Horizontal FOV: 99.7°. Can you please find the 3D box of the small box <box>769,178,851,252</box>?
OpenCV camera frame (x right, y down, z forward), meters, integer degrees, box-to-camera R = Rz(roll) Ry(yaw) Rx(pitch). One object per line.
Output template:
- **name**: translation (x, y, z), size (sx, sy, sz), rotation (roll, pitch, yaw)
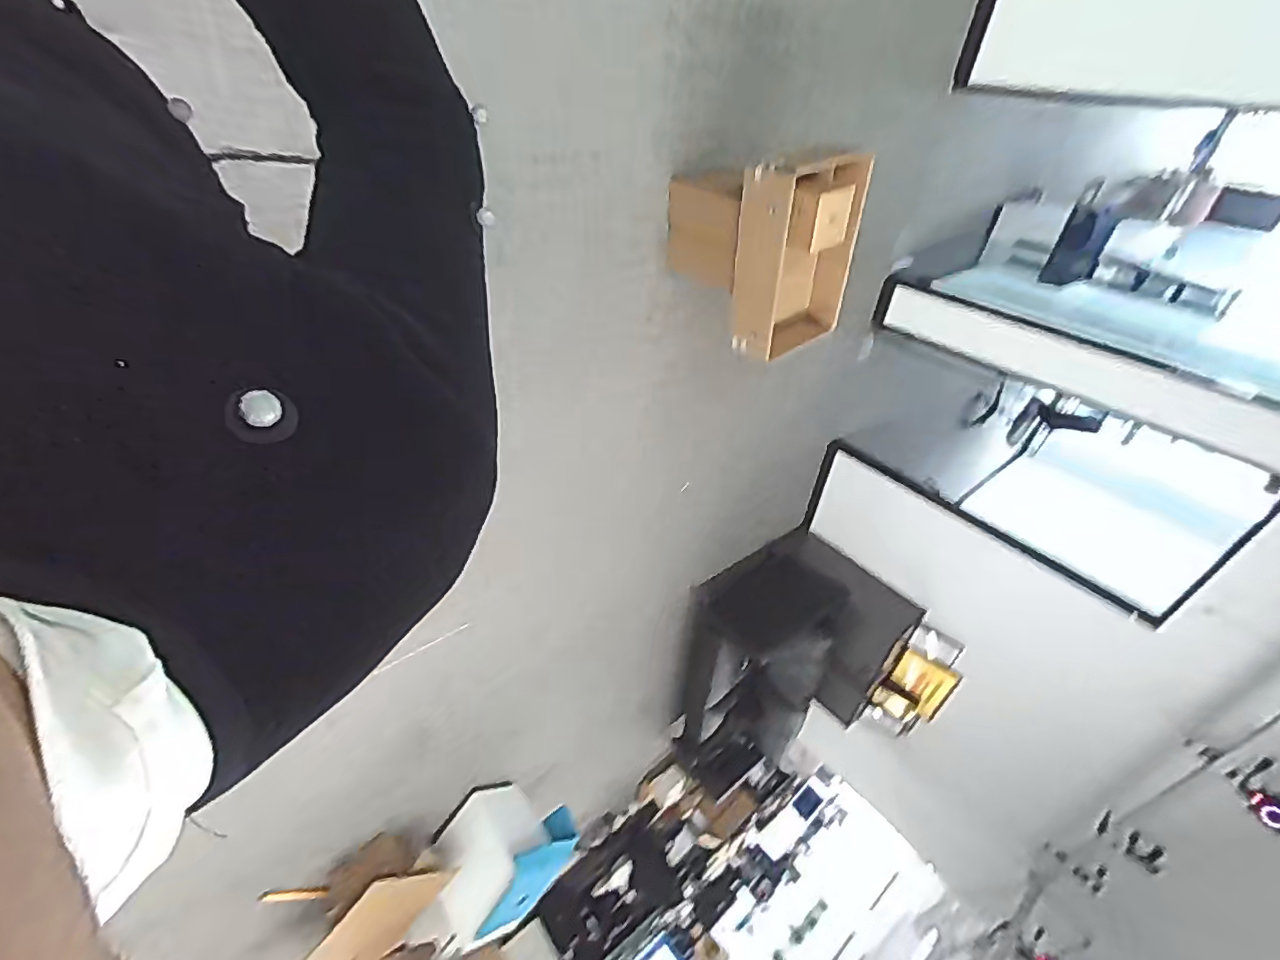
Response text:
- **small box**: translation (0.535, -0.848, 1.723), size (0.179, 0.176, 0.168), rotation (-30, 138, -28)
